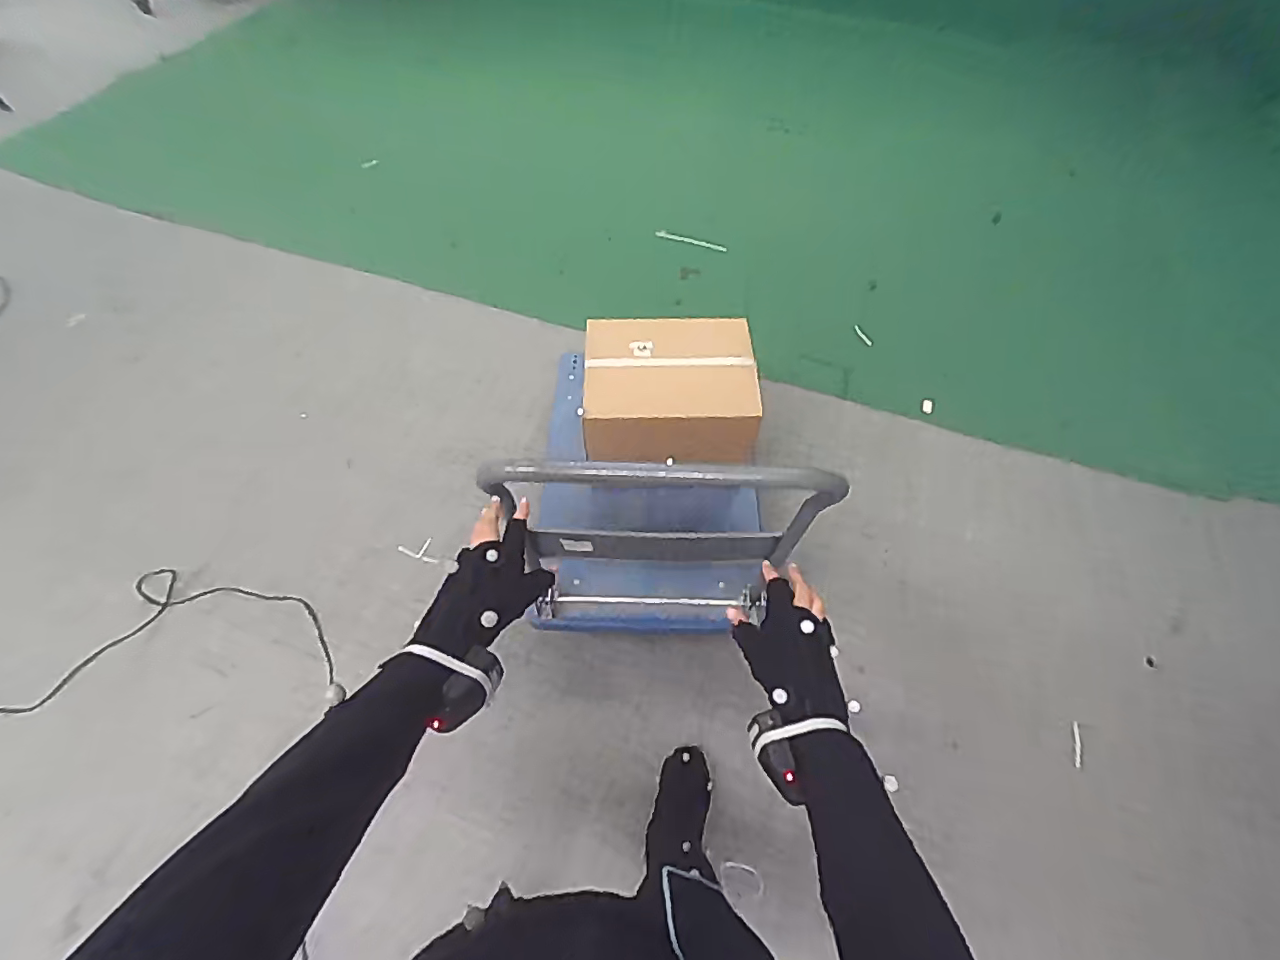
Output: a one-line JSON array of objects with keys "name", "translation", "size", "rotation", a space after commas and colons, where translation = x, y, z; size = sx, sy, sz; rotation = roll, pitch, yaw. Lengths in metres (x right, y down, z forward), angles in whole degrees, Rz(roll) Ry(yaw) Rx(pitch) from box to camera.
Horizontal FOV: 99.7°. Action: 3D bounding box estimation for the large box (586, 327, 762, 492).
[{"name": "large box", "translation": [0.074, -0.177, 1.415], "size": [0.408, 0.320, 0.320], "rotation": [-1, 58, -1]}]
